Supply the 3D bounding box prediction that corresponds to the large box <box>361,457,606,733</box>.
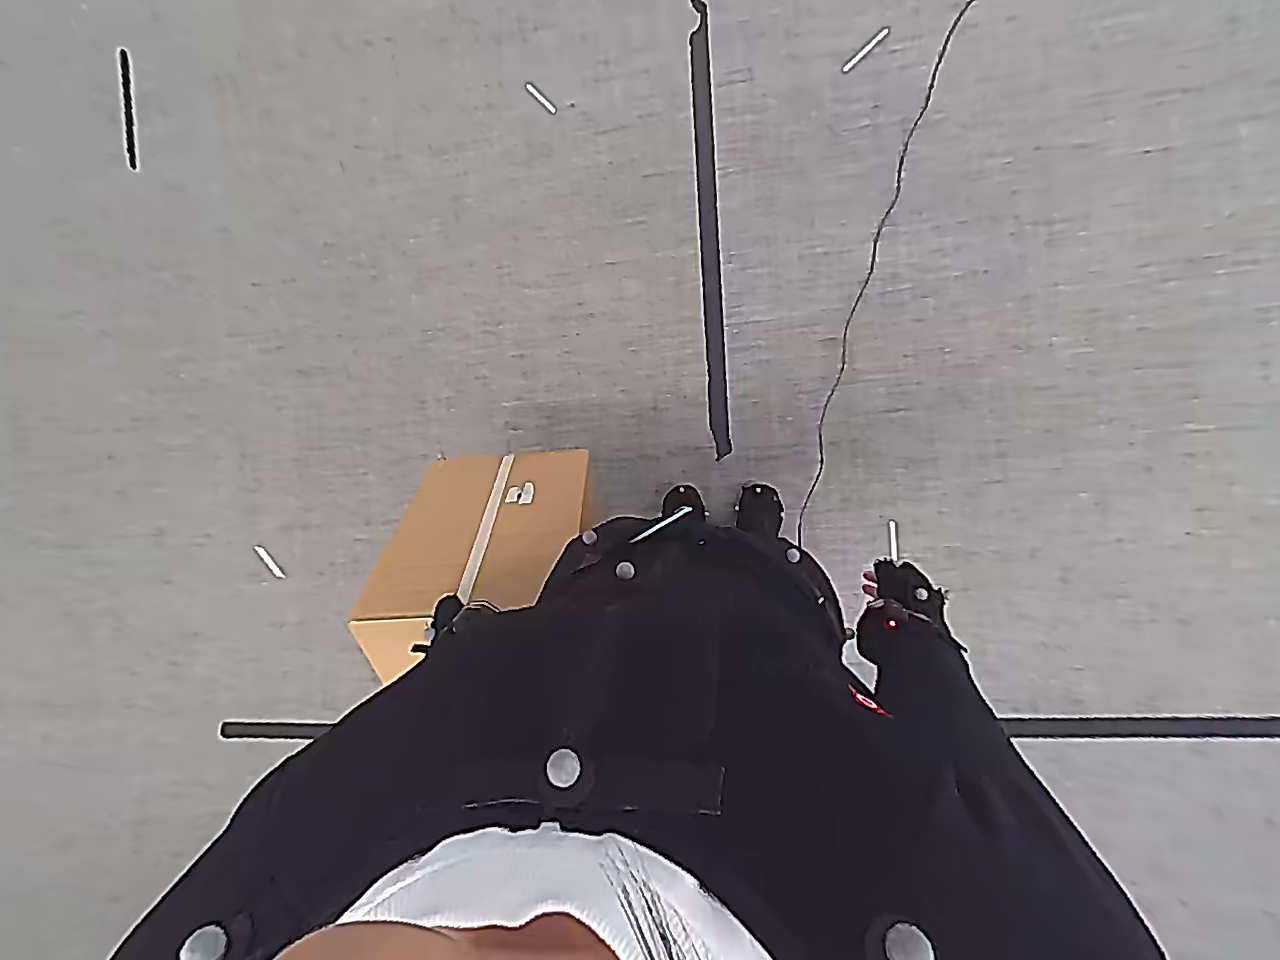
[{"bbox_3d":[-0.241,0.200,1.012,0.320,0.408,0.320,-3,125,3],"label":"large box"}]
